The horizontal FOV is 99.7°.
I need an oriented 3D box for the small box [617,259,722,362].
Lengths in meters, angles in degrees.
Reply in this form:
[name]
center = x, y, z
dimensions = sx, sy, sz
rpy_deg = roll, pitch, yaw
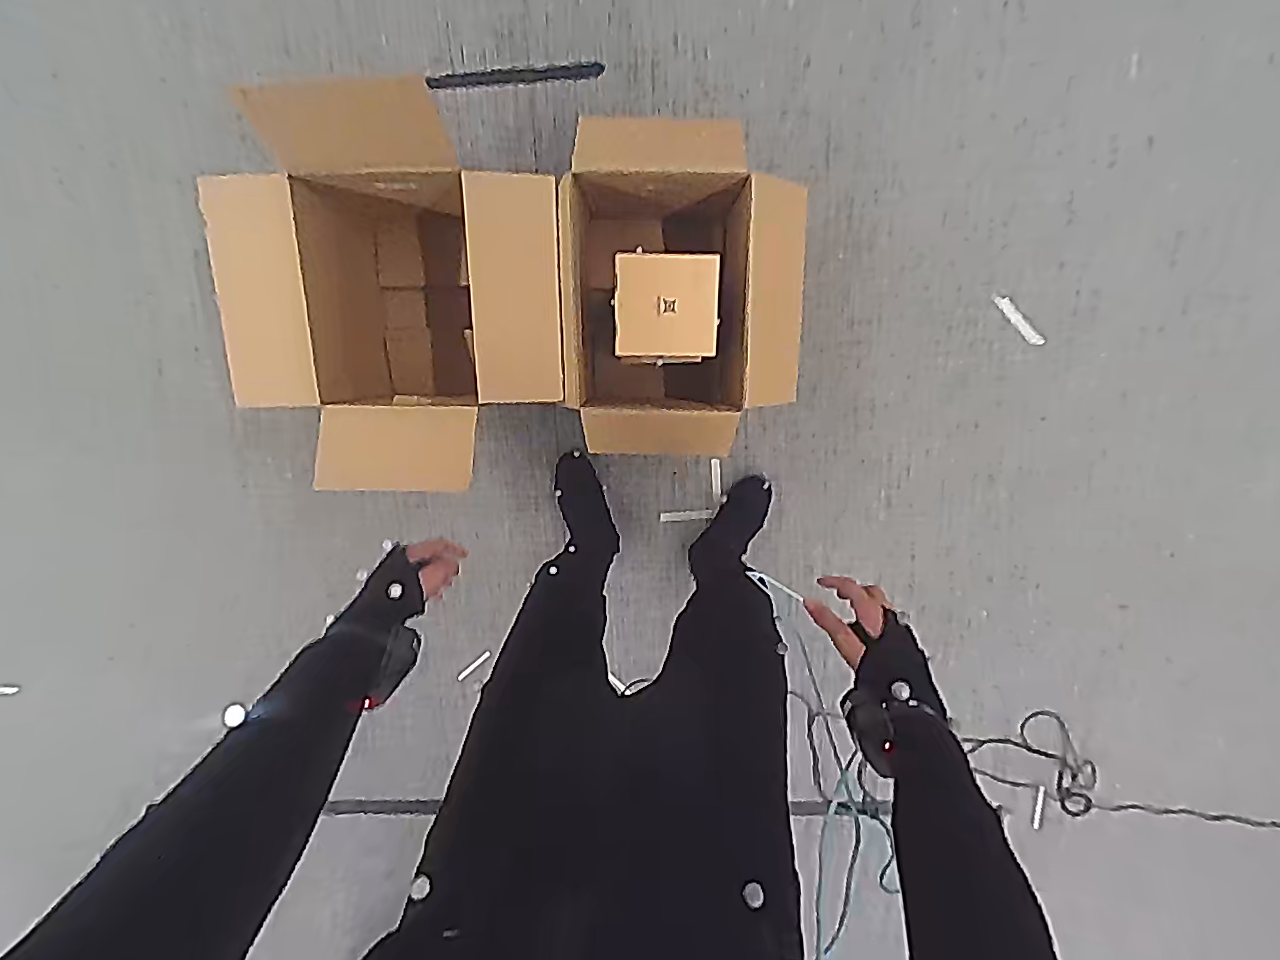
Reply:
[small box]
center = 0.048, -0.307, 0.991
dimensions = 0.179, 0.176, 0.168
rpy_deg = 1, 105, 1
